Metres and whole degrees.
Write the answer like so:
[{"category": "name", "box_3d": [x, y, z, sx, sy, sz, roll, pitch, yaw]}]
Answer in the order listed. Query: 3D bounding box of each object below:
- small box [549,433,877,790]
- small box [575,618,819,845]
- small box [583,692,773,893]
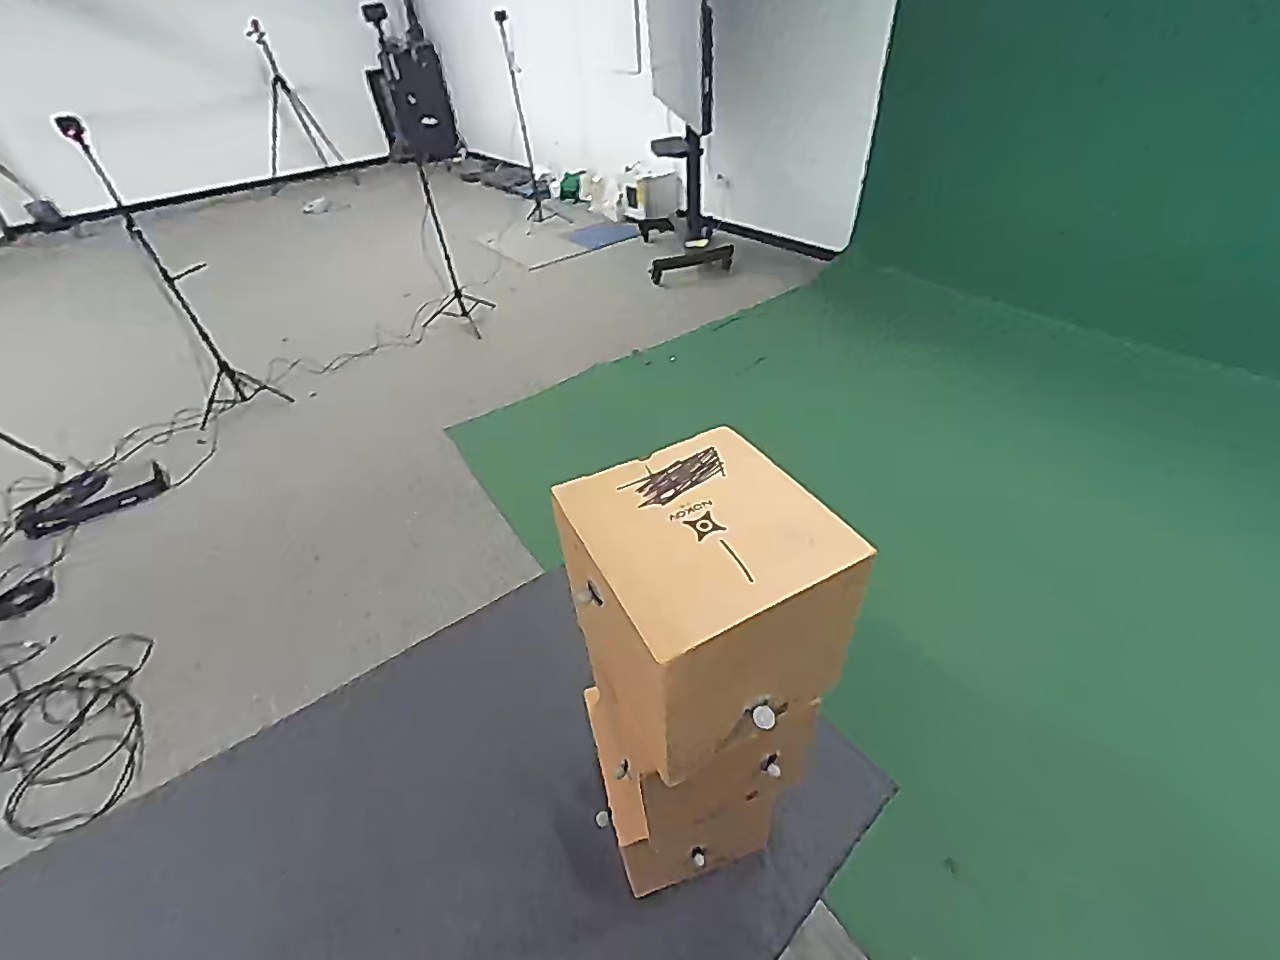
[{"category": "small box", "box_3d": [0.044, 0.095, 0.422, 0.168, 0.176, 0.179, -21, 43, -18]}, {"category": "small box", "box_3d": [0.049, 0.220, 0.528, 0.168, 0.176, 0.179, -17, 40, -14]}, {"category": "small box", "box_3d": [0.040, 0.346, 0.631, 0.168, 0.176, 0.179, -14, 39, -10]}]
